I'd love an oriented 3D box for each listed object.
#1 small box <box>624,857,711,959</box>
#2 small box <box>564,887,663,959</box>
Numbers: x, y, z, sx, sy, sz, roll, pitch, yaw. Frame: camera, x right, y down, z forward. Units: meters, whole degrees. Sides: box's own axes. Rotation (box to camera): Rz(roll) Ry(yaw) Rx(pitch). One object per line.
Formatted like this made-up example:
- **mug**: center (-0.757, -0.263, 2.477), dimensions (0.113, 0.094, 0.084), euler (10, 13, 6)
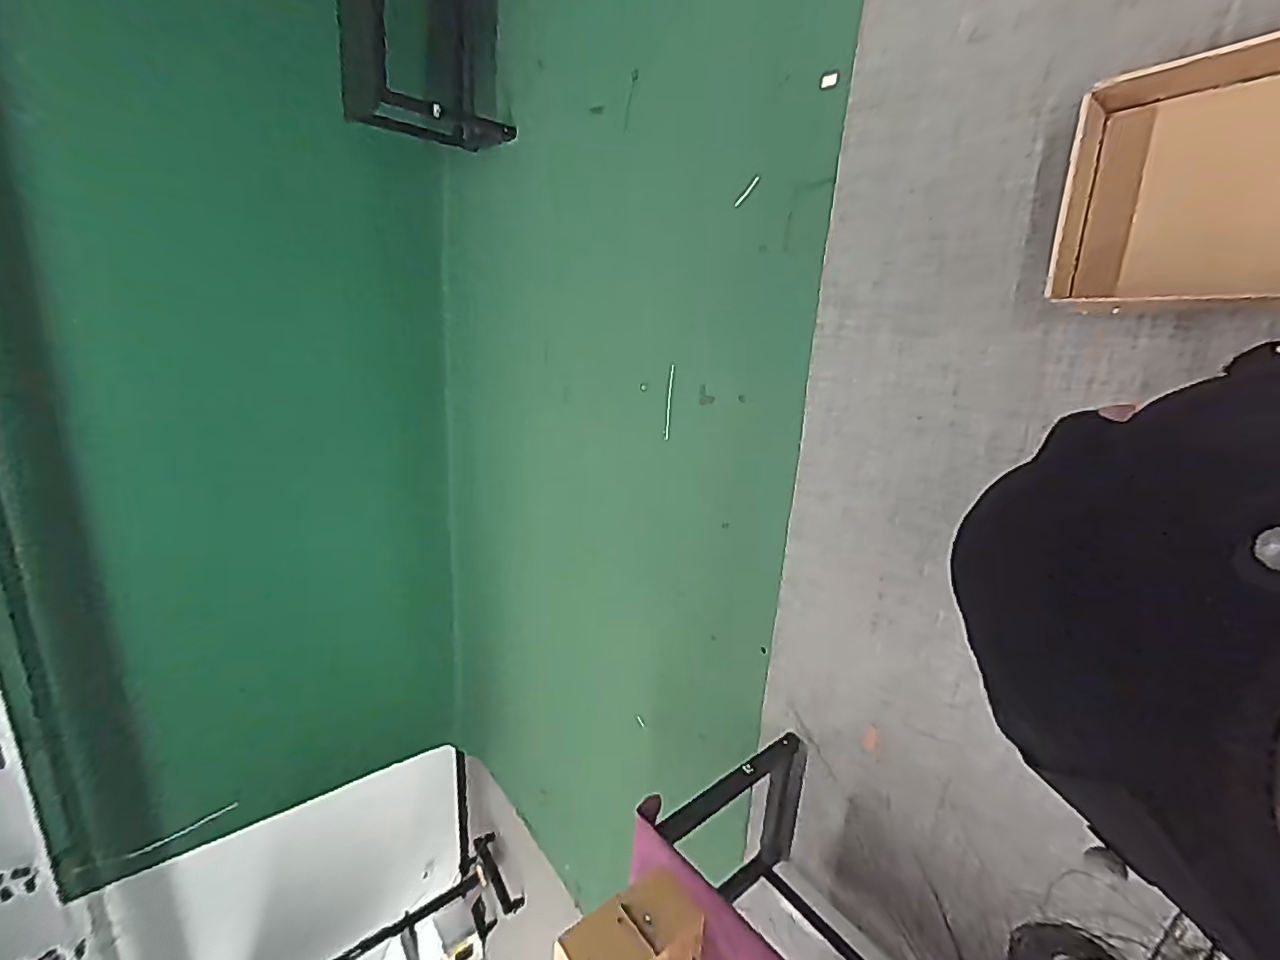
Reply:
- **small box**: center (0.061, 1.118, 1.374), dimensions (0.179, 0.176, 0.168), euler (19, 112, 48)
- **small box**: center (-0.063, 1.123, 1.265), dimensions (0.168, 0.176, 0.179), euler (22, 115, 46)
